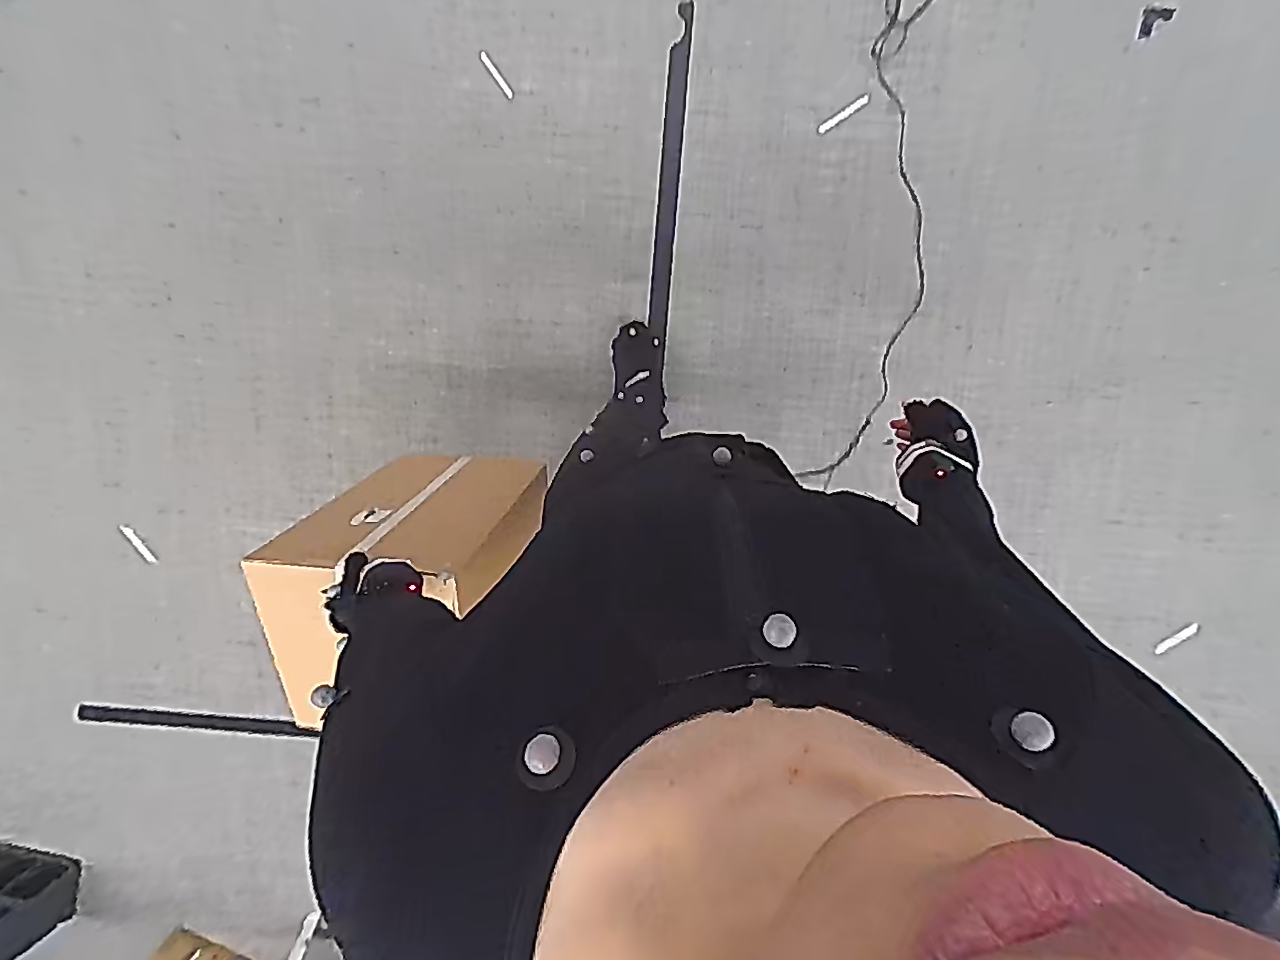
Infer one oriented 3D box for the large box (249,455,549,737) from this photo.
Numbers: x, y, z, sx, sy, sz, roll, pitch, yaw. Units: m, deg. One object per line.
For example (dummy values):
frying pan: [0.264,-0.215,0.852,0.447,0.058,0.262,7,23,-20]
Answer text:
large box: [-0.371,0.175,0.970,0.320,0.408,0.320,2,114,8]
